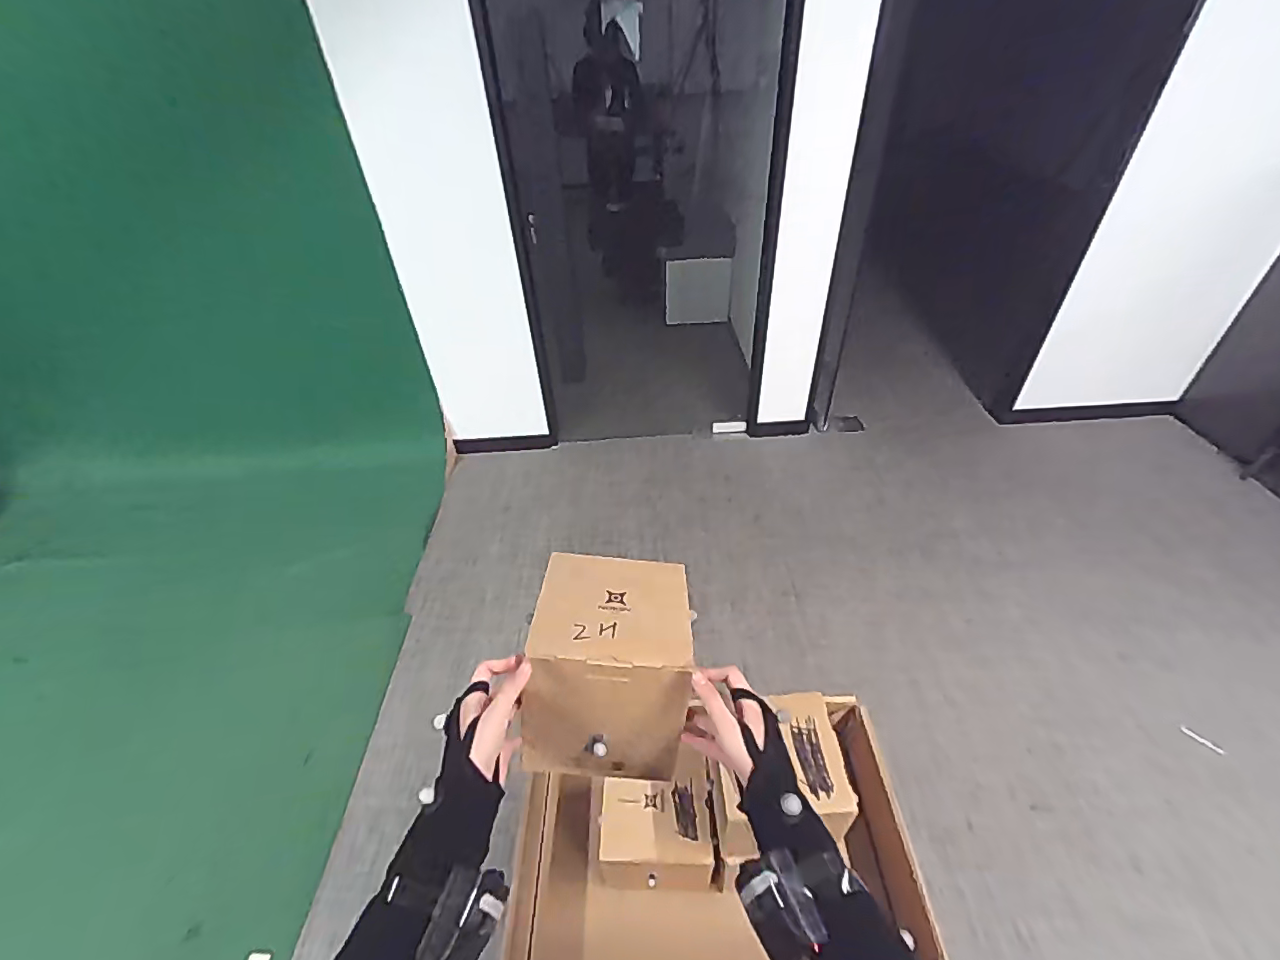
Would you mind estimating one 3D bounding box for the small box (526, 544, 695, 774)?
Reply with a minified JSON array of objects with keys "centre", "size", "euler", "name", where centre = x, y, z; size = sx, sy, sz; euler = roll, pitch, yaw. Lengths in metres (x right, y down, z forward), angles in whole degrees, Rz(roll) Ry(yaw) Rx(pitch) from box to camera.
[{"centre":[-0.033,0.196,0.617],"size":[0.168,0.176,0.179],"euler":[5,26,-1],"name":"small box"}]
